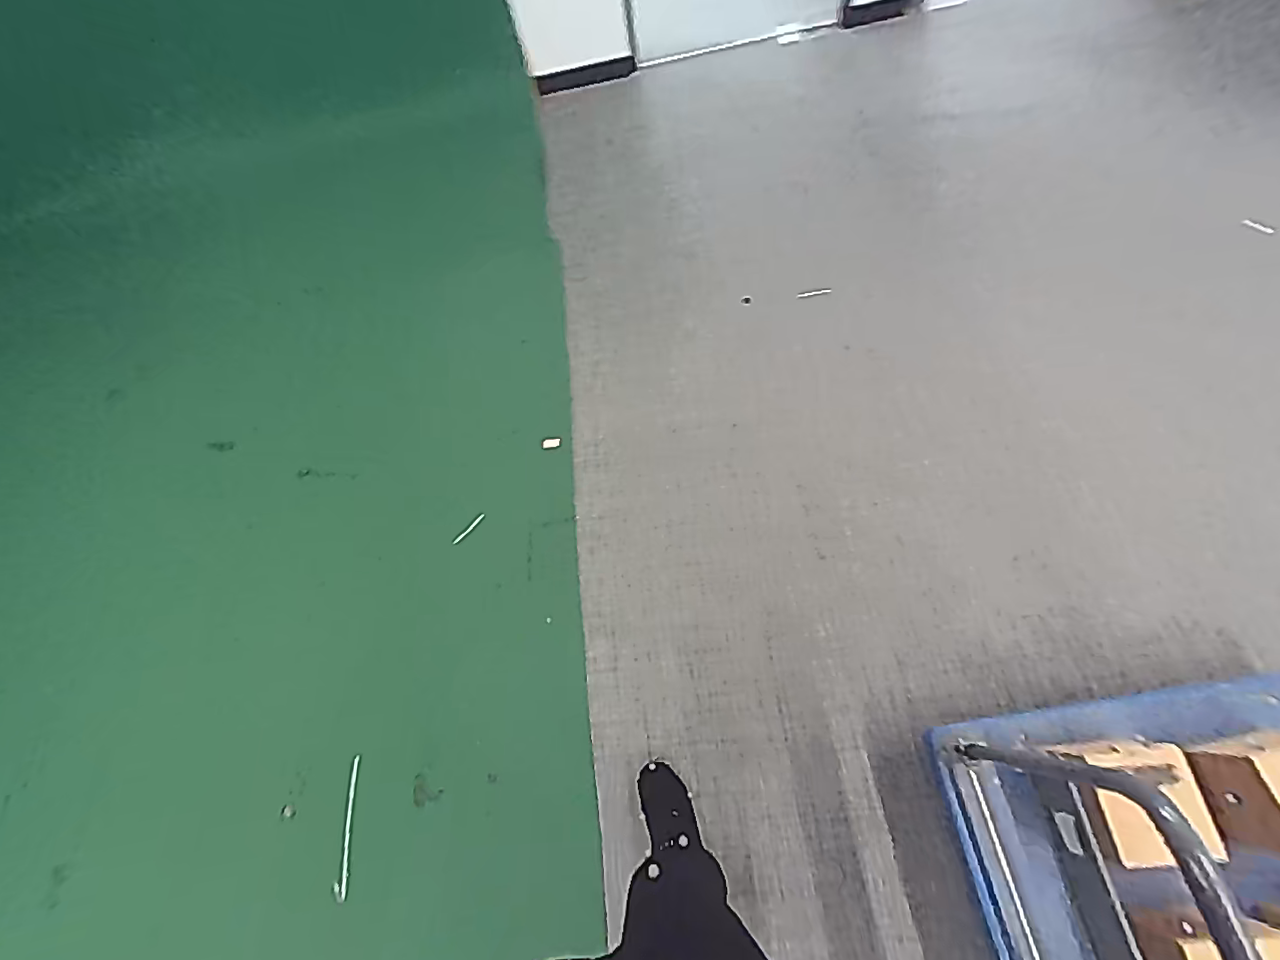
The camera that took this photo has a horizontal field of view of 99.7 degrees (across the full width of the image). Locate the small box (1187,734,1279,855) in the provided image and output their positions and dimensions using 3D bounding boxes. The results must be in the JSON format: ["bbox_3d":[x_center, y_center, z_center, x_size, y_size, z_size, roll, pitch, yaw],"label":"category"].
[{"bbox_3d":[1.161,0.565,0.974,0.179,0.176,0.168,-14,66,3],"label":"small box"}]

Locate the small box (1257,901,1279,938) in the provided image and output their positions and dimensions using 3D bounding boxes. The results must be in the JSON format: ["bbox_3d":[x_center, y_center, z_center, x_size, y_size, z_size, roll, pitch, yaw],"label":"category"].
[{"bbox_3d":[1.196,0.794,0.870,0.179,0.176,0.168,-12,65,4],"label":"small box"}]

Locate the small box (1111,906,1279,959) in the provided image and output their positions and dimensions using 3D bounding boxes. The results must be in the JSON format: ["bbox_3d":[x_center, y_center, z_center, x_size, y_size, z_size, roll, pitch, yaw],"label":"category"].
[{"bbox_3d":[0.951,0.833,0.892,0.179,0.176,0.168,-9,66,5],"label":"small box"}]
